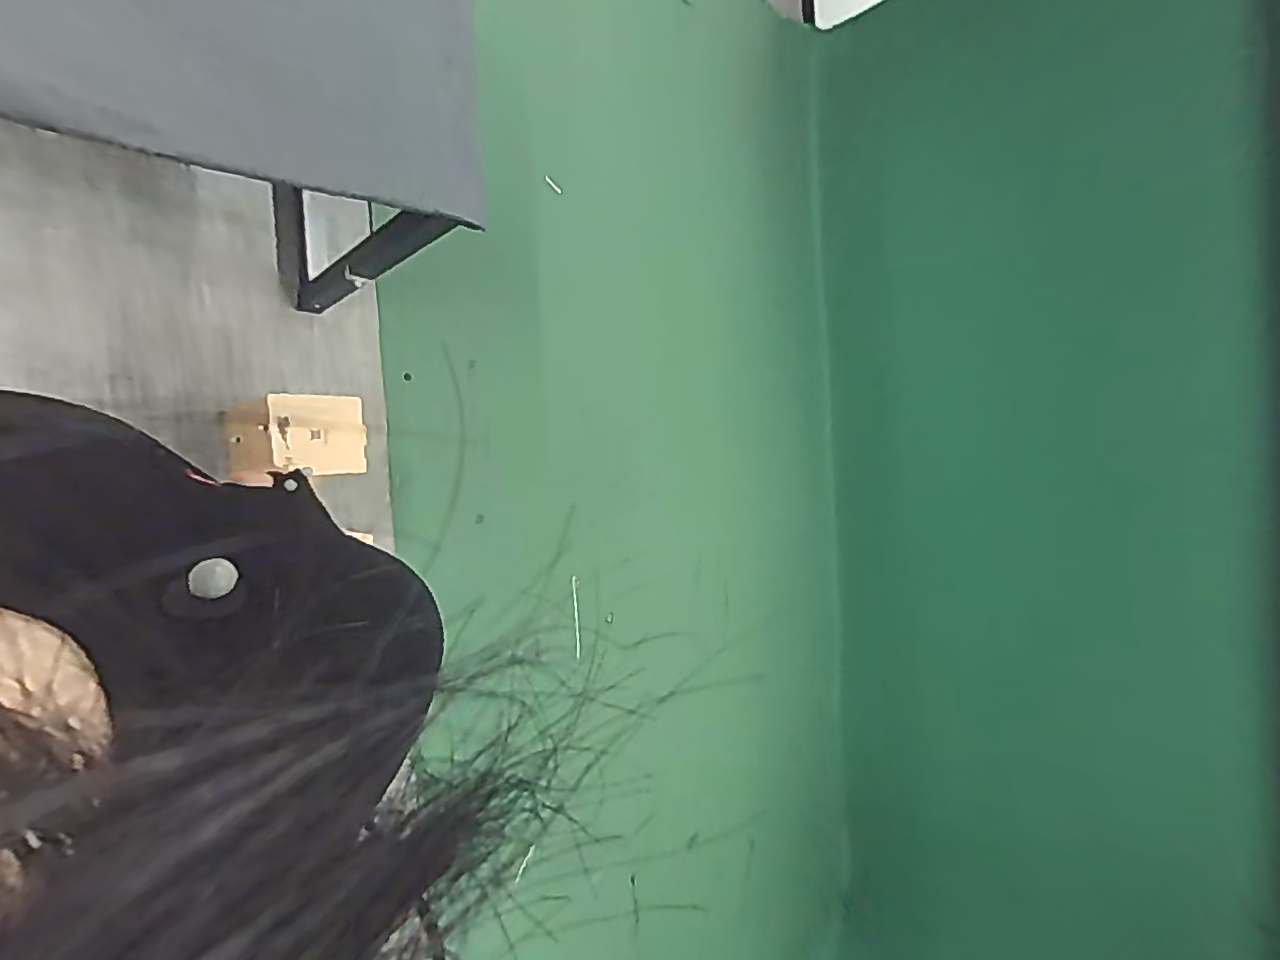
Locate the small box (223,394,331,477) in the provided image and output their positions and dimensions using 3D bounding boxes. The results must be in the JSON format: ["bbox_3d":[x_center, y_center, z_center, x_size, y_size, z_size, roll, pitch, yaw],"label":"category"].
[{"bbox_3d":[-0.838,-0.099,1.248,0.168,0.176,0.179,-8,94,-49],"label":"small box"}]

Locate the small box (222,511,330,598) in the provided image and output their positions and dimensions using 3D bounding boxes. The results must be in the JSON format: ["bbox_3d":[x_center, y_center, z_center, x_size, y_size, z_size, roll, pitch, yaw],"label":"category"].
[{"bbox_3d":[-0.838,0.166,1.243,0.168,0.176,0.179,7,84,-48],"label":"small box"}]
